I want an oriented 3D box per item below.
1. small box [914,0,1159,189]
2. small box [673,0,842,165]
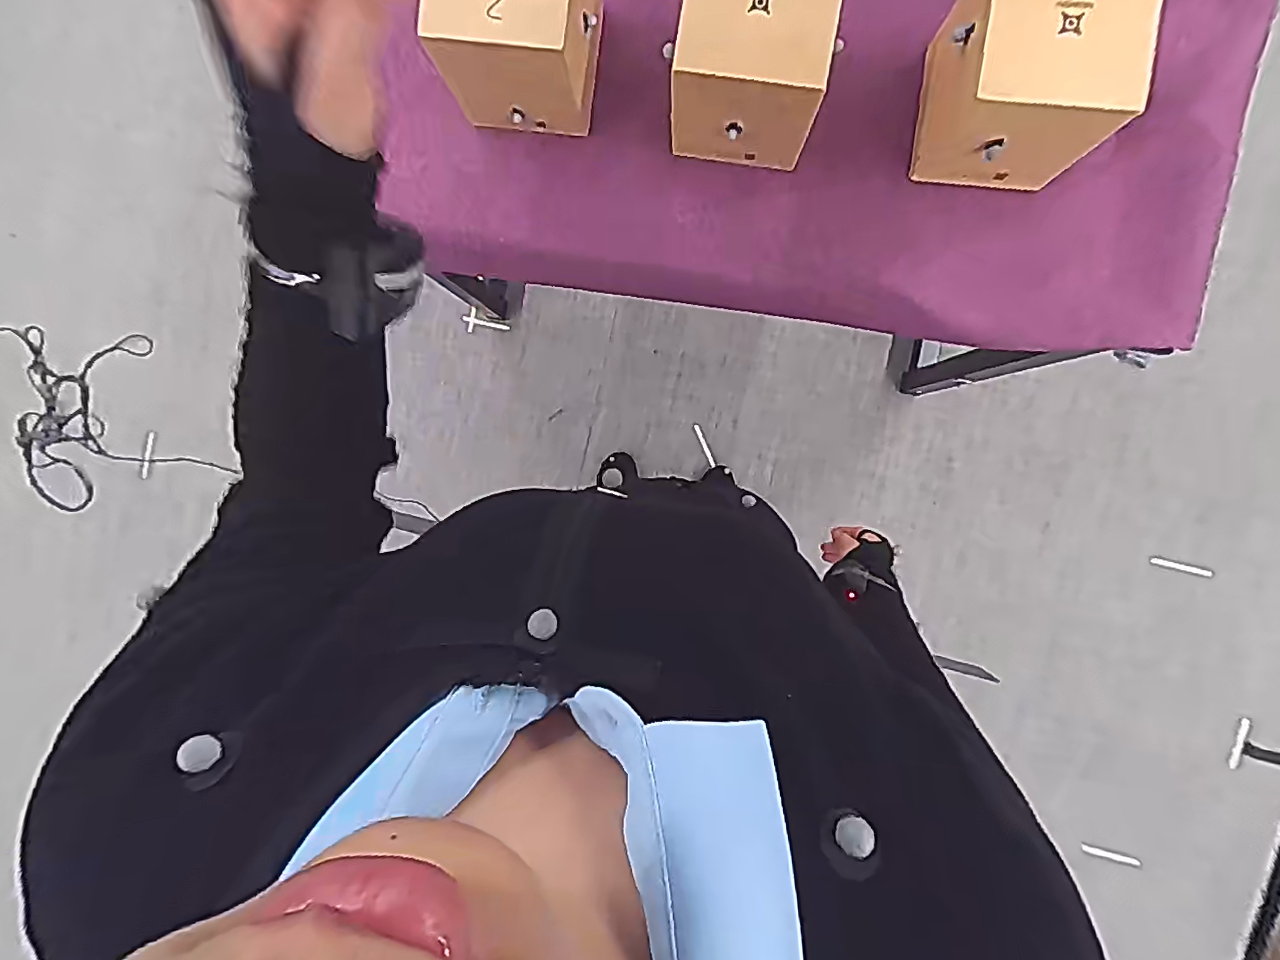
[{"bbox_3d":[0.442,-0.469,0.629,0.168,0.176,0.179,8,92,4],"label":"small box"},{"bbox_3d":[0.136,-0.512,0.647,0.168,0.176,0.179,10,93,2],"label":"small box"}]
